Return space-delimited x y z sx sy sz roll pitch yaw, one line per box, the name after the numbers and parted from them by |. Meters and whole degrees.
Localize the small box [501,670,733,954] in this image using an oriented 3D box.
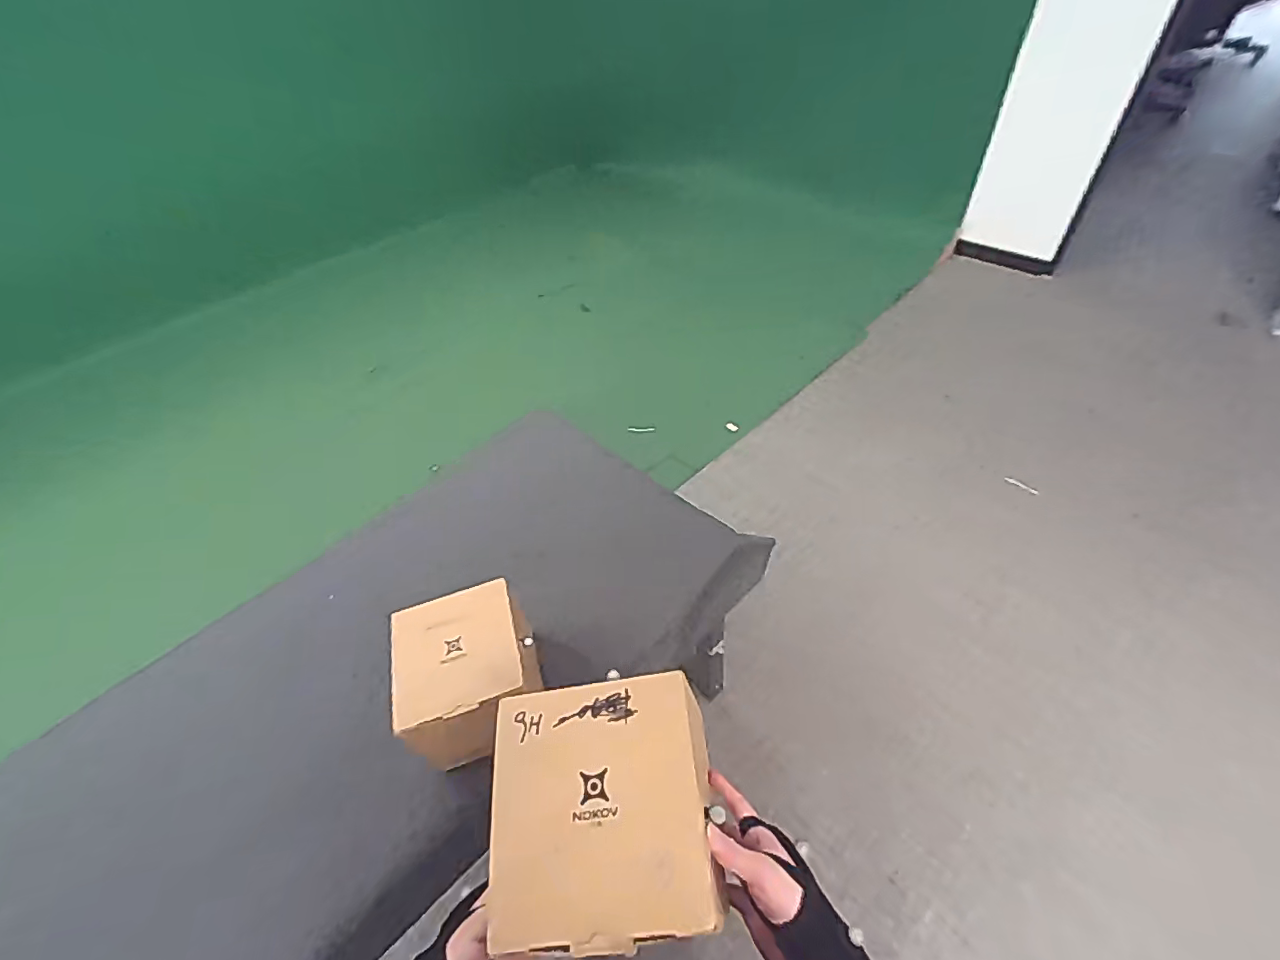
-0.013 0.285 0.481 0.168 0.176 0.179 -10 56 4 | small box

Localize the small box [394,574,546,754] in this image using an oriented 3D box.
-0.238 0.272 0.783 0.168 0.176 0.179 -17 48 -9 | small box
